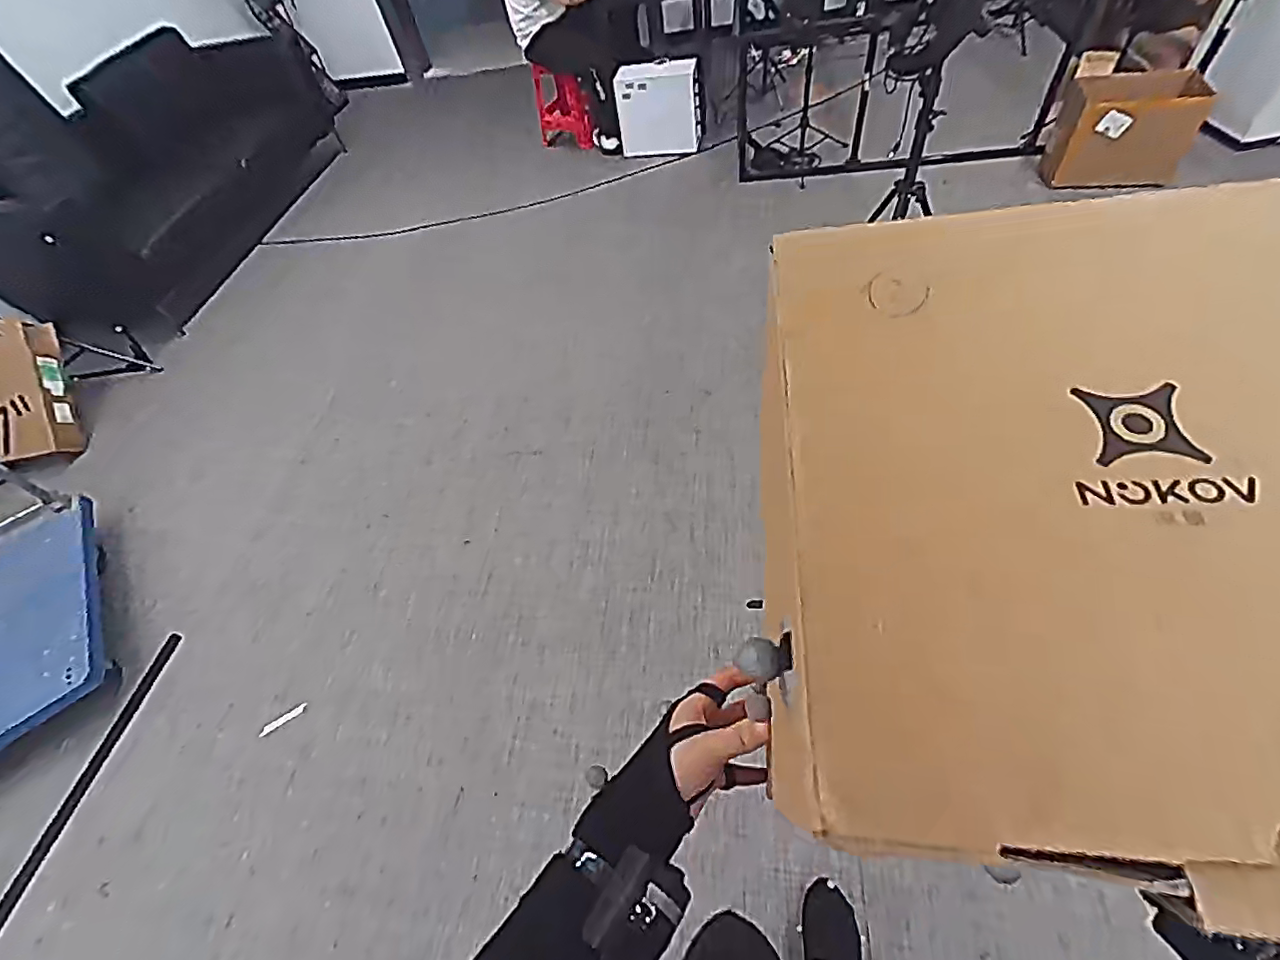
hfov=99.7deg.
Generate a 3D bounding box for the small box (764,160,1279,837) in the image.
[{"bbox_3d":[0.136,0.022,0.198,0.168,0.176,0.179,-2,61,10],"label":"small box"}]
